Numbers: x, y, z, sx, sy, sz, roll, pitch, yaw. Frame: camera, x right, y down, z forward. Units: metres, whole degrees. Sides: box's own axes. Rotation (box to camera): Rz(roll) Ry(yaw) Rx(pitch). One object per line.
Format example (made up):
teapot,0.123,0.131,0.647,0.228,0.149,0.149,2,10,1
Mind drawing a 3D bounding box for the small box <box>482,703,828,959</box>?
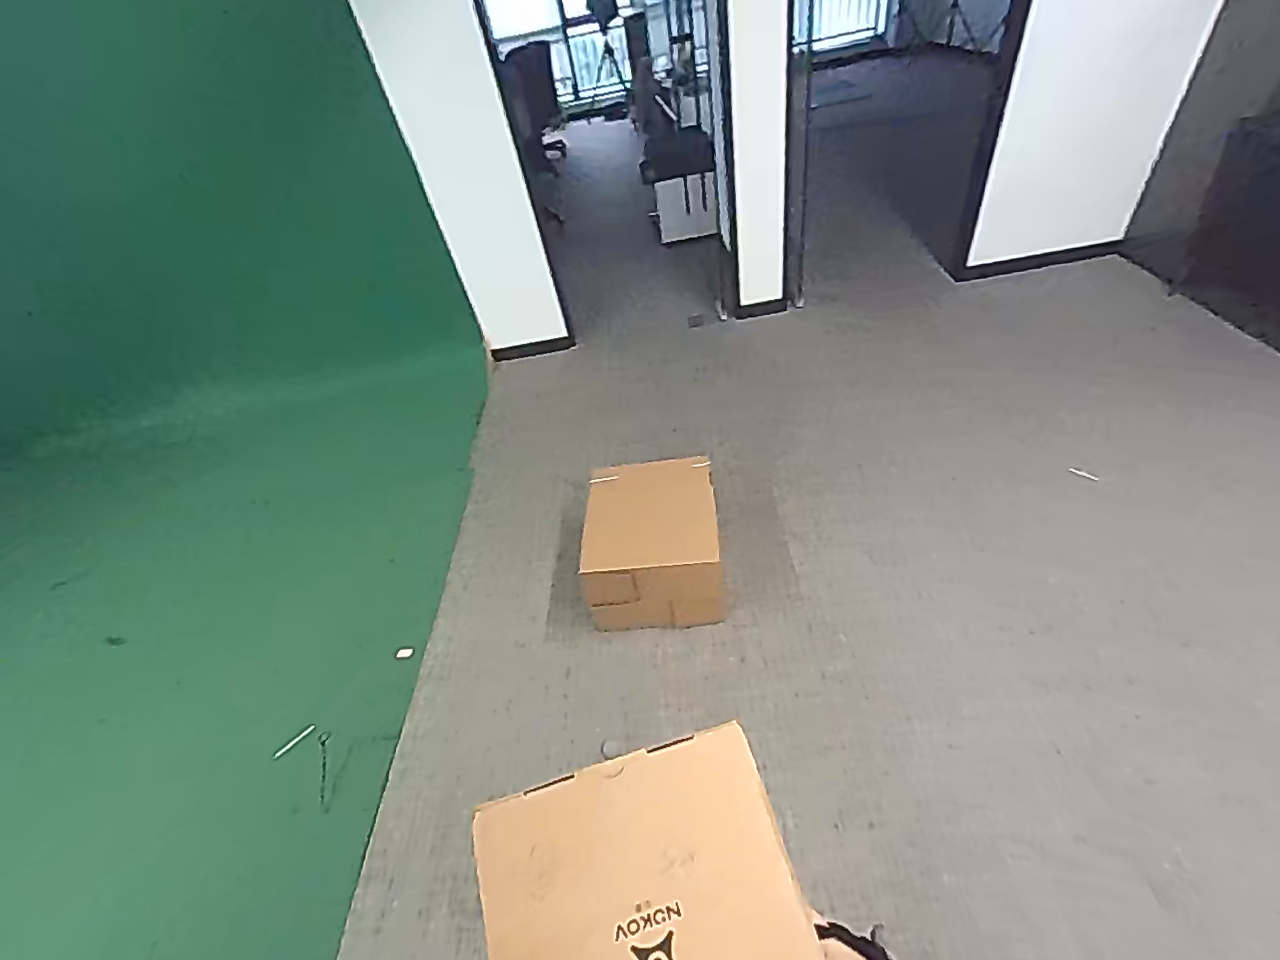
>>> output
small box,0.005,0.269,0.355,0.168,0.176,0.179,-14,62,-9
